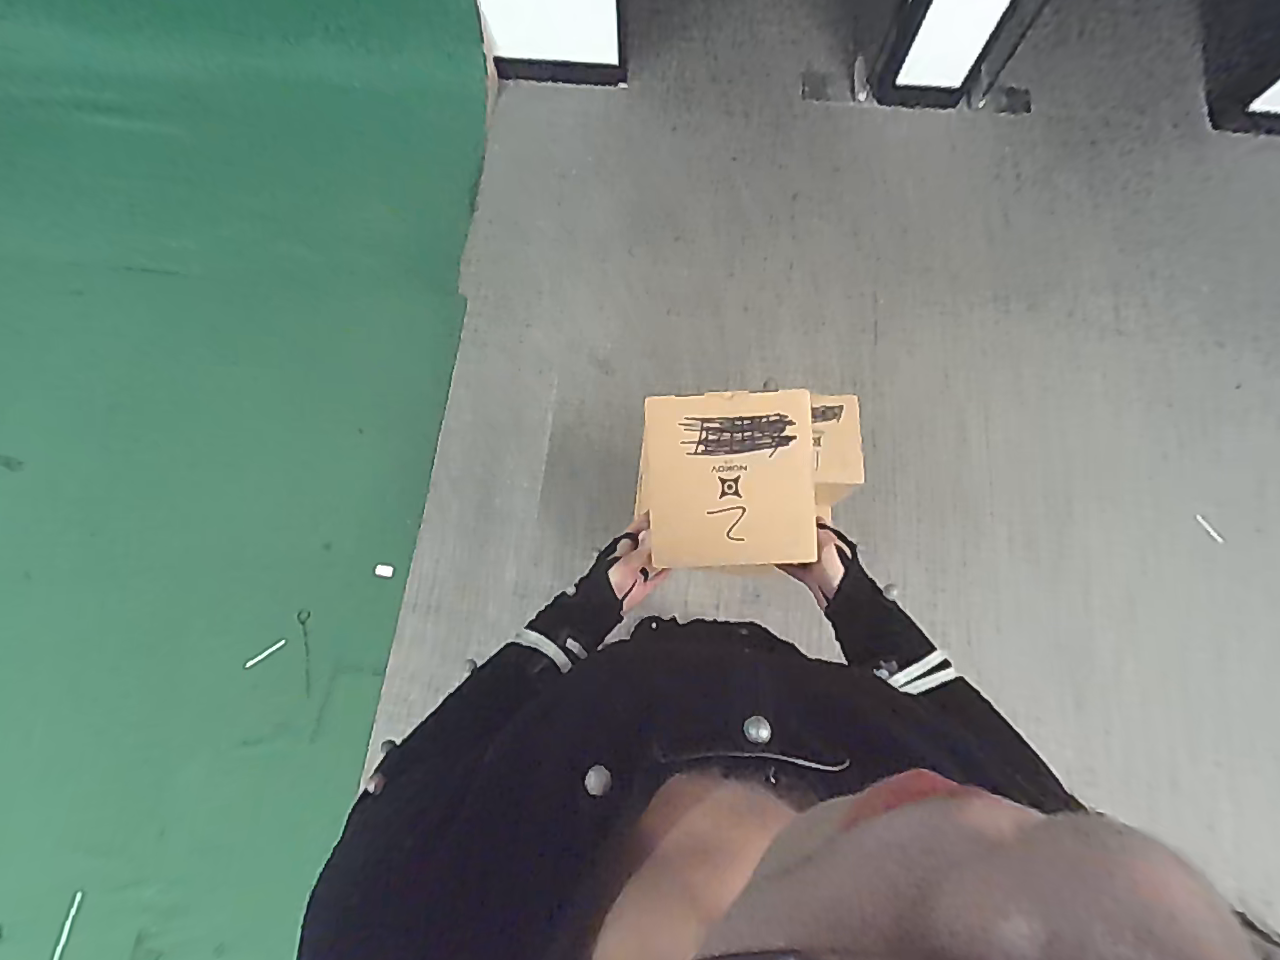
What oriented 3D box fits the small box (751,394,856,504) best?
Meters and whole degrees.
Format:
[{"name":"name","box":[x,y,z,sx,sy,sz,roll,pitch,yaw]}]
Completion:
[{"name":"small box","box":[0.317,-0.057,1.078,0.168,0.176,0.179,2,76,3]}]
